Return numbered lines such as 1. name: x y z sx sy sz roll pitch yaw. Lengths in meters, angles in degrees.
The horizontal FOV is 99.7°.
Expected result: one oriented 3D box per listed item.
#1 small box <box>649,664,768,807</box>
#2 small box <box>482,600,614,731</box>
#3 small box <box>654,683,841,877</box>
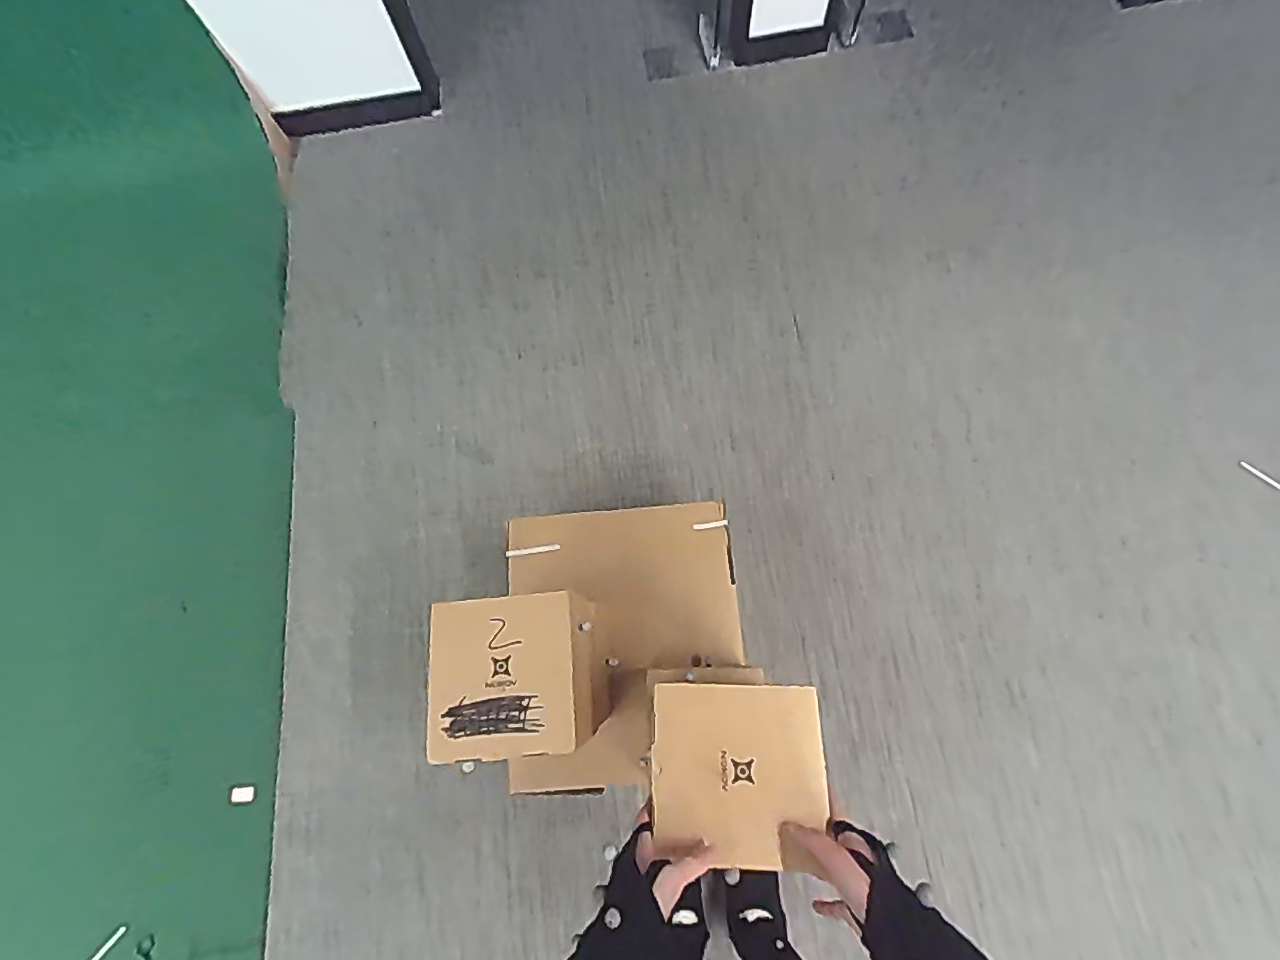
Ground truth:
1. small box: 0.099 0.368 0.802 0.168 0.176 0.179 -1 72 1
2. small box: -0.132 0.287 0.842 0.168 0.176 0.179 -3 71 4
3. small box: 0.108 0.325 0.609 0.179 0.176 0.168 -1 64 5
